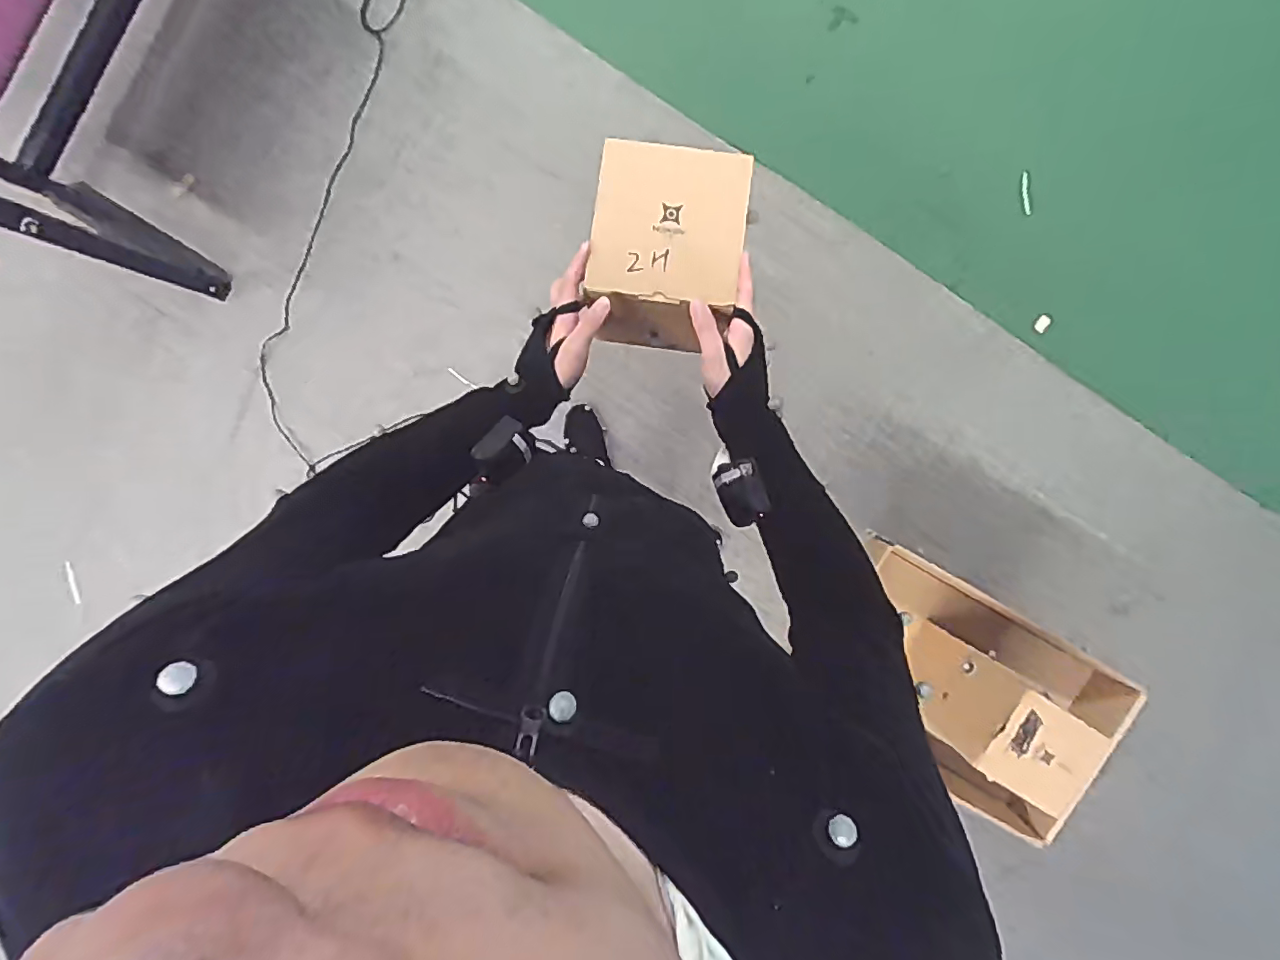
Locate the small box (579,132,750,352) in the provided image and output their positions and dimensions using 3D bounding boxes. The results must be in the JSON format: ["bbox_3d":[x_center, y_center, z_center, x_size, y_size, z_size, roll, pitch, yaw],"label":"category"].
[{"bbox_3d":[0.027,-0.274,0.657,0.168,0.176,0.179,8,86,1],"label":"small box"}]

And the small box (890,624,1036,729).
[{"bbox_3d":[0.671,0.436,1.147,0.168,0.176,0.179,30,94,-2],"label":"small box"}]

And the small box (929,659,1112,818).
[{"bbox_3d":[0.673,0.453,0.983,0.179,0.176,0.168,33,95,-3],"label":"small box"}]
